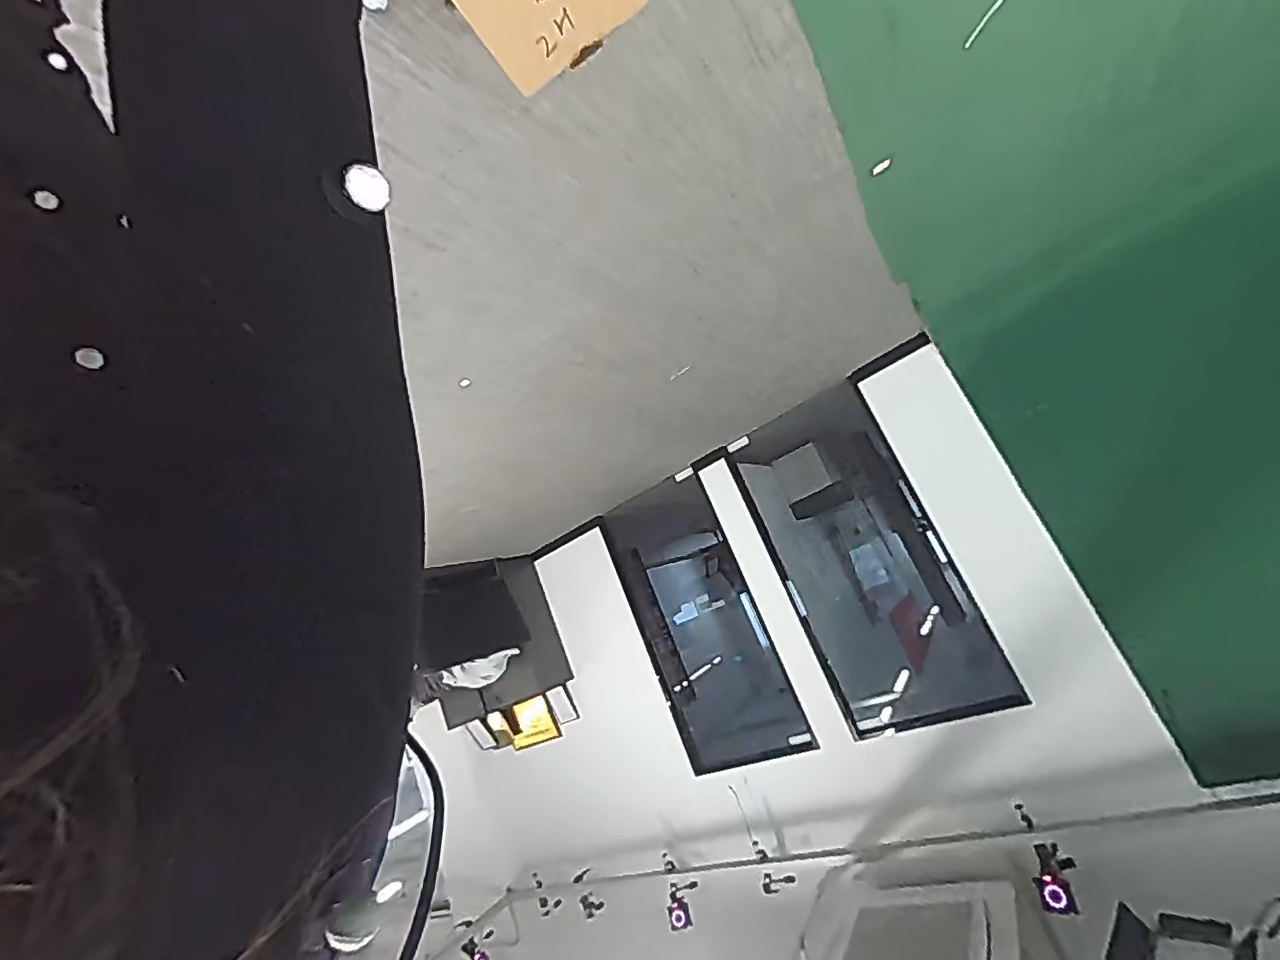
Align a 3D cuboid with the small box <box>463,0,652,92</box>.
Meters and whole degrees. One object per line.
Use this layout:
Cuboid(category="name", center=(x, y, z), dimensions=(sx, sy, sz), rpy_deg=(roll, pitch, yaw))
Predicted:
Cuboid(category="small box", center=(-0.113, -0.543, 0.516), dimensions=(0.168, 0.176, 0.179), rpy_deg=(-25, 166, 17))
